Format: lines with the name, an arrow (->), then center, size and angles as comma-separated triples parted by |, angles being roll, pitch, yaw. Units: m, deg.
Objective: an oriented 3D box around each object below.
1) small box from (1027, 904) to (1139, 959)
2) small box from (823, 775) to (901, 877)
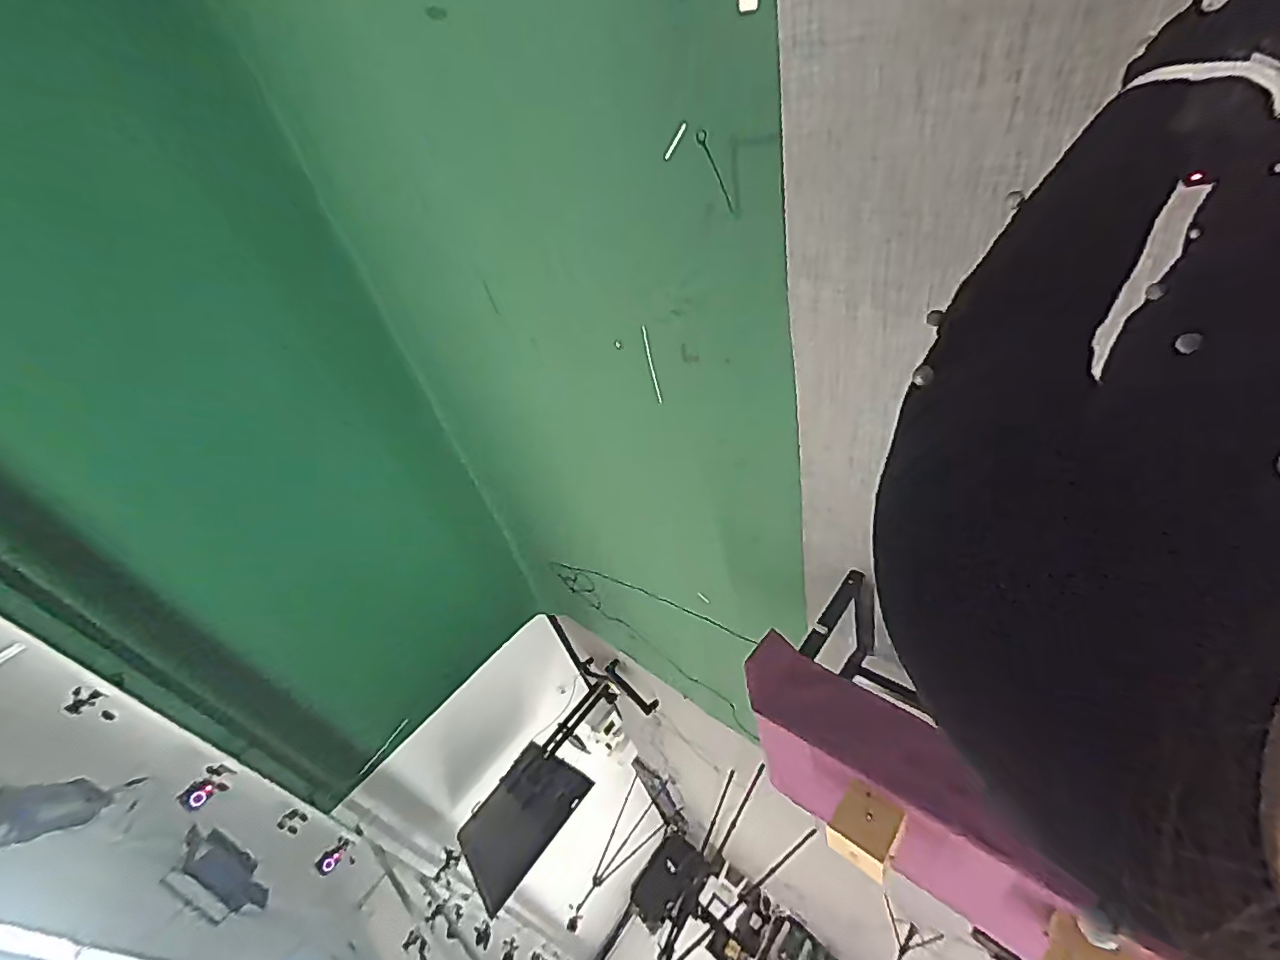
small box -> 1.045, 1.167, 1.283 | 0.179, 0.176, 0.168 | 21, 142, 40
small box -> 0.662, 1.022, 1.610 | 0.168, 0.176, 0.179 | 21, 142, 39
